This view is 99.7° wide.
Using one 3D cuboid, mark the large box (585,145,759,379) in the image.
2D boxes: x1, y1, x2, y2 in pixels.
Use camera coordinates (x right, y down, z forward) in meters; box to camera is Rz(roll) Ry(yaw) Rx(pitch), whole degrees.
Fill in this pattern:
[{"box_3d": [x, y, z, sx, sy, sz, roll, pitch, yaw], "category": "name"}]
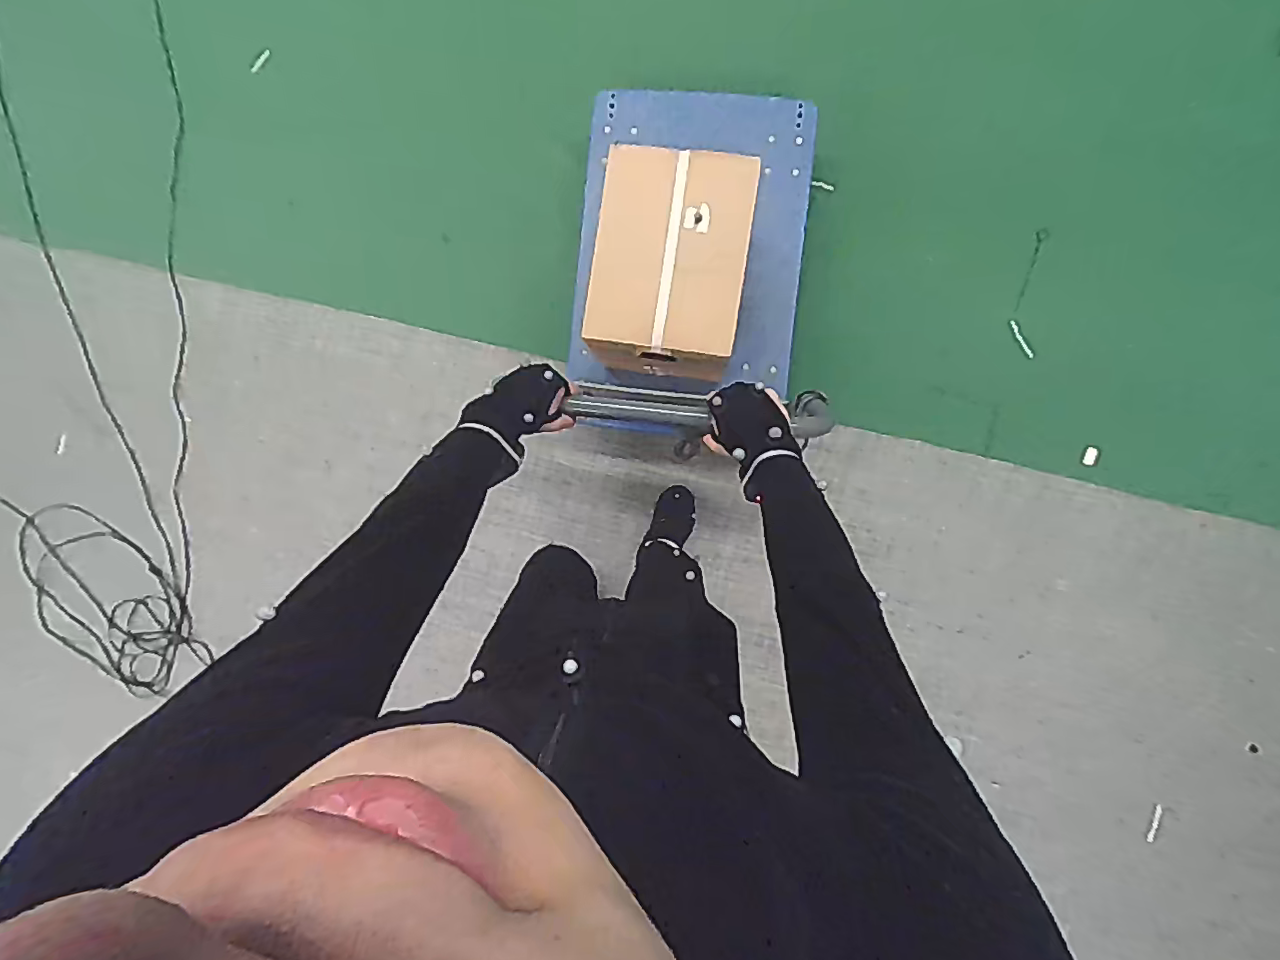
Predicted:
[{"box_3d": [0.077, -0.472, 1.251, 0.320, 0.320, 0.408, 9, 91, 4], "category": "large box"}]
